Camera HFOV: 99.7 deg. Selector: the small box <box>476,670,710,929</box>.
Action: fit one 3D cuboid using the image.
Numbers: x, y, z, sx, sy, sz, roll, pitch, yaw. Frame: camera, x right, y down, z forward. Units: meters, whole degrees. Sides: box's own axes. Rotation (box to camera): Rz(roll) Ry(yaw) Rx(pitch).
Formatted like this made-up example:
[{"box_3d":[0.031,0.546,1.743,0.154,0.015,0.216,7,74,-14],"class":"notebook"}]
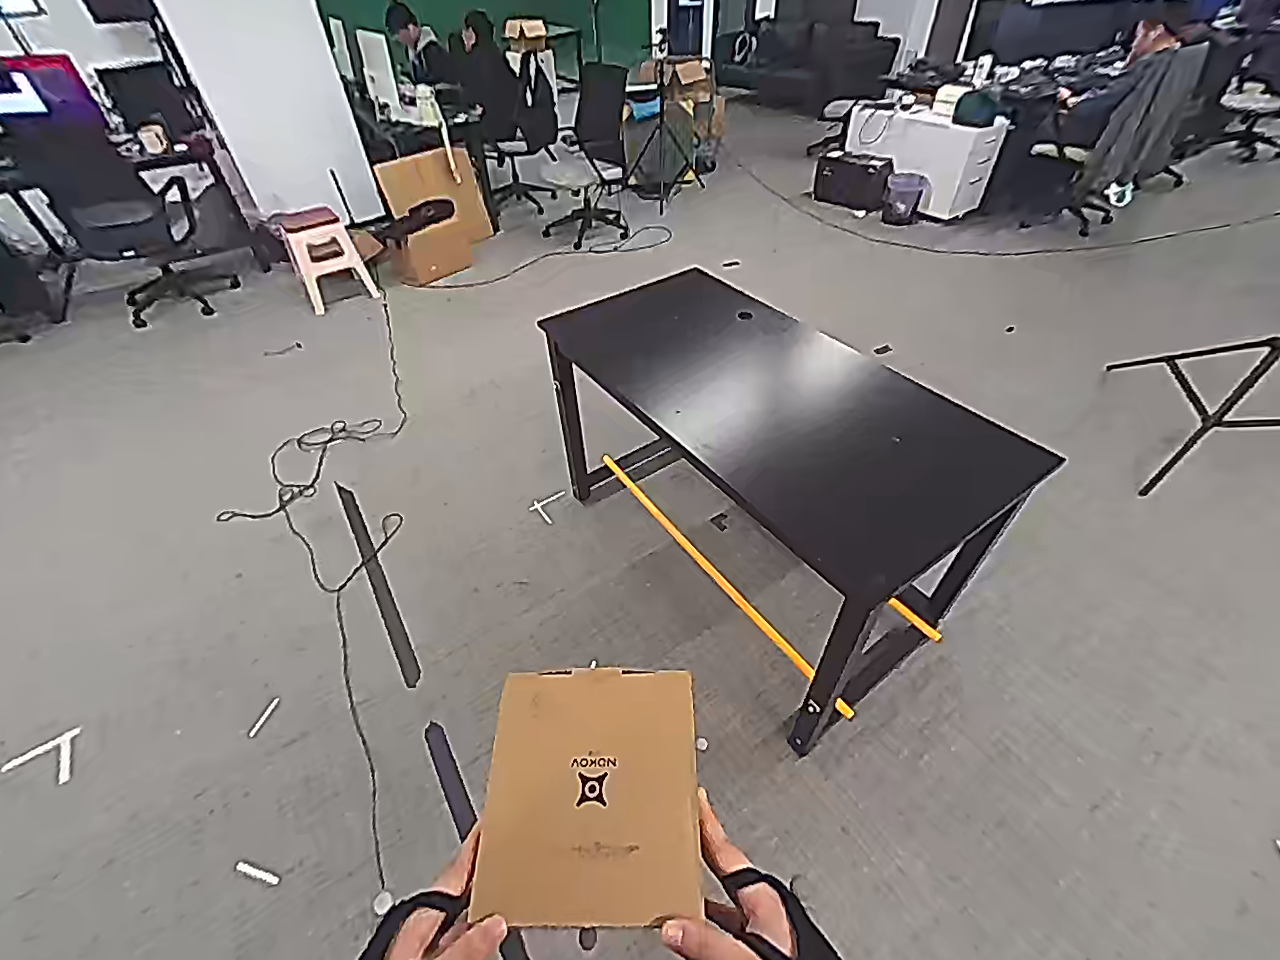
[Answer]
[{"box_3d":[-0.030,0.286,0.484,0.168,0.176,0.179,-1,52,2],"class":"small box"}]
